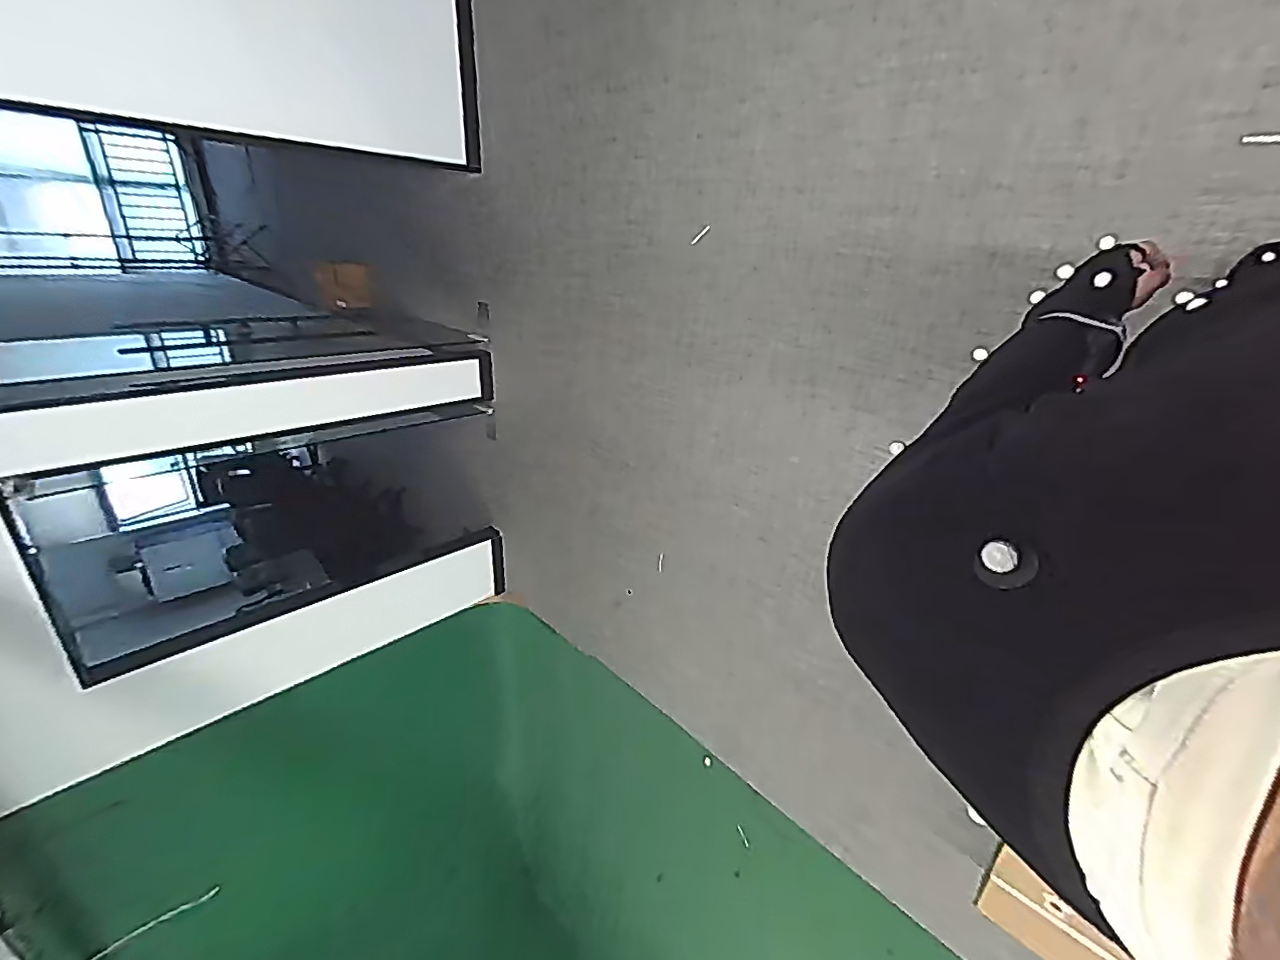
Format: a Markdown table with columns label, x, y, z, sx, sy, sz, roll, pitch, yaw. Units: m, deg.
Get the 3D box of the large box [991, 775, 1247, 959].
| label | x | y | z | sx | sy | sz | roll | pitch | yaw |
| --- | --- | --- | --- | --- | --- | --- | --- | --- | --- |
| large box | 1.209 | 1.072 | 1.384 | 0.408 | 0.320 | 0.320 | 24 | 120 | 41 |
